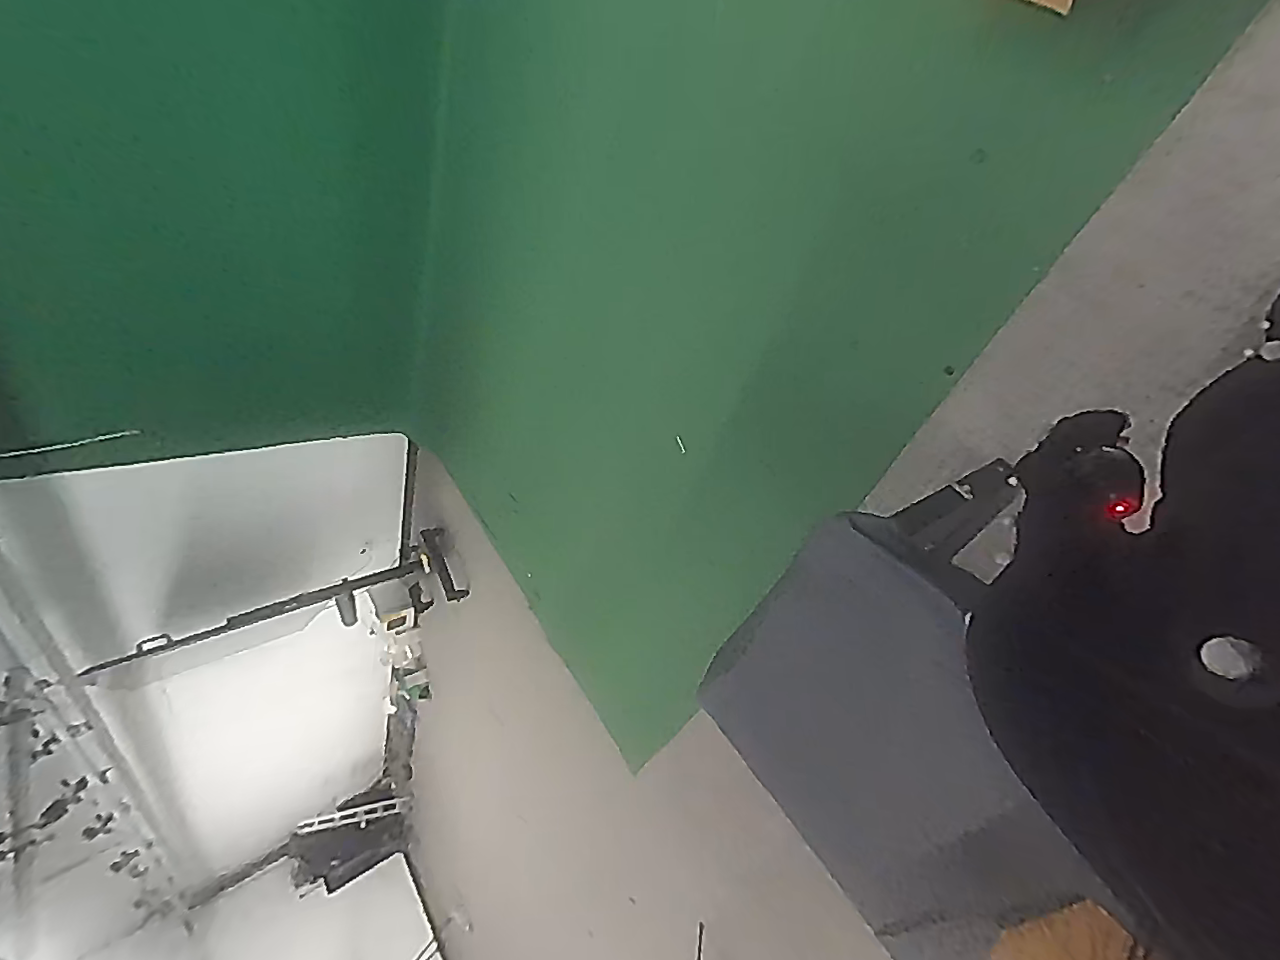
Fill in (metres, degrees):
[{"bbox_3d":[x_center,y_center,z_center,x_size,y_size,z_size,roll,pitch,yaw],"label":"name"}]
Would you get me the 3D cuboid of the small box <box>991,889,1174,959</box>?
[{"bbox_3d":[0.574,0.671,0.682,0.168,0.176,0.179,48,133,30],"label":"small box"}]
